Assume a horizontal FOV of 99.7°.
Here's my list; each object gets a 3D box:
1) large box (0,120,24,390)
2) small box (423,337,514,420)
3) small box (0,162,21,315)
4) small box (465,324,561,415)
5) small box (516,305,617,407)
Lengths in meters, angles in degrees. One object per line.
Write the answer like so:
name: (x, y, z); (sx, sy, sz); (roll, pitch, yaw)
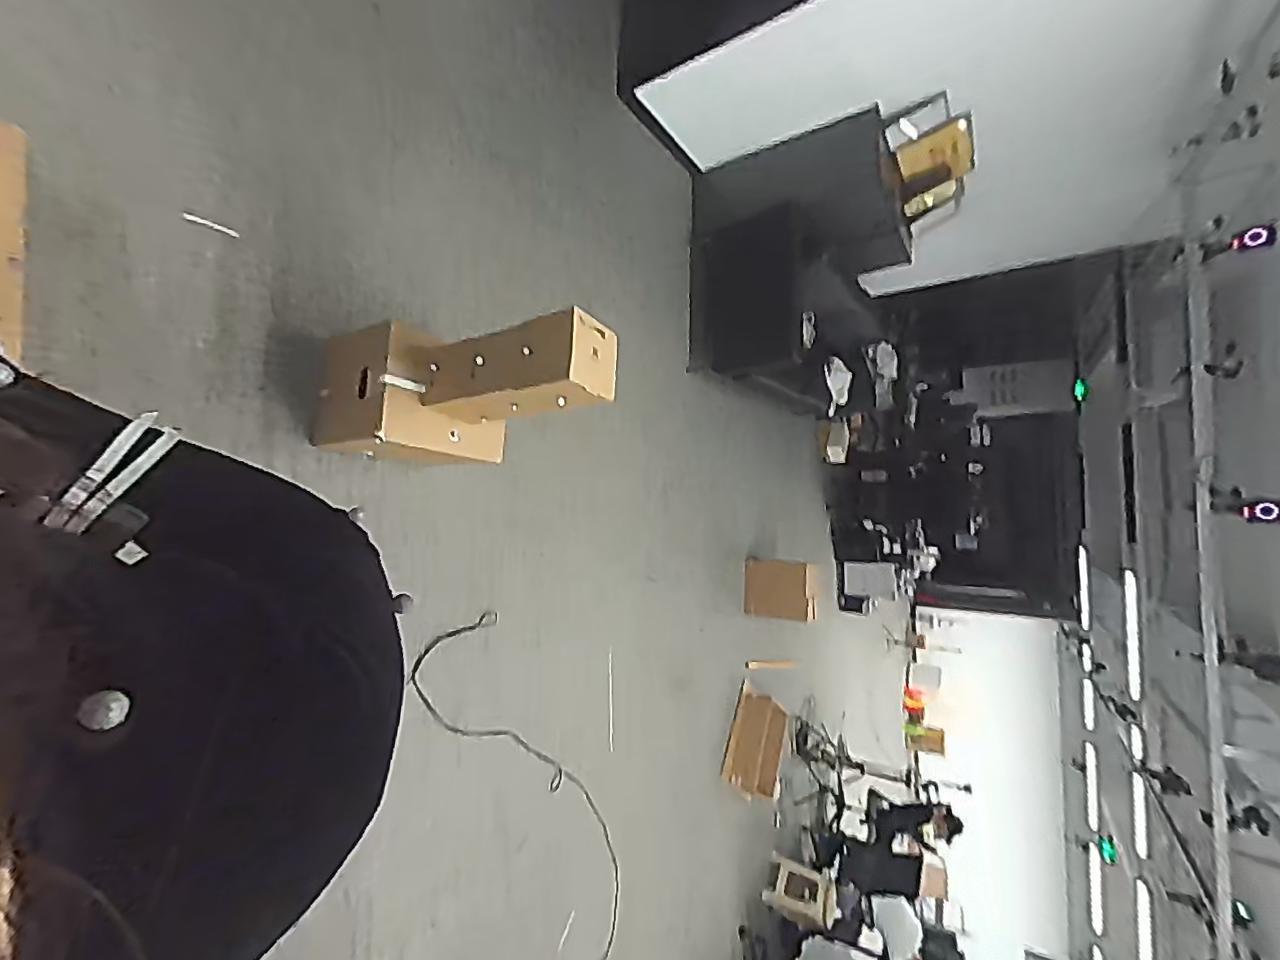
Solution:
large box: (-1.175, -0.350, 0.800); (0.320, 0.320, 0.408); (2, 86, -57)
small box: (-0.450, -0.265, 1.459); (0.179, 0.176, 0.168); (19, 70, -55)
small box: (-0.821, -0.272, 0.589); (0.168, 0.176, 0.179); (6, 83, -57)
small box: (-0.311, -0.269, 1.372); (0.179, 0.176, 0.168); (21, 69, -54)
small box: (-0.175, -0.282, 1.282); (0.168, 0.176, 0.179); (20, 70, -55)
